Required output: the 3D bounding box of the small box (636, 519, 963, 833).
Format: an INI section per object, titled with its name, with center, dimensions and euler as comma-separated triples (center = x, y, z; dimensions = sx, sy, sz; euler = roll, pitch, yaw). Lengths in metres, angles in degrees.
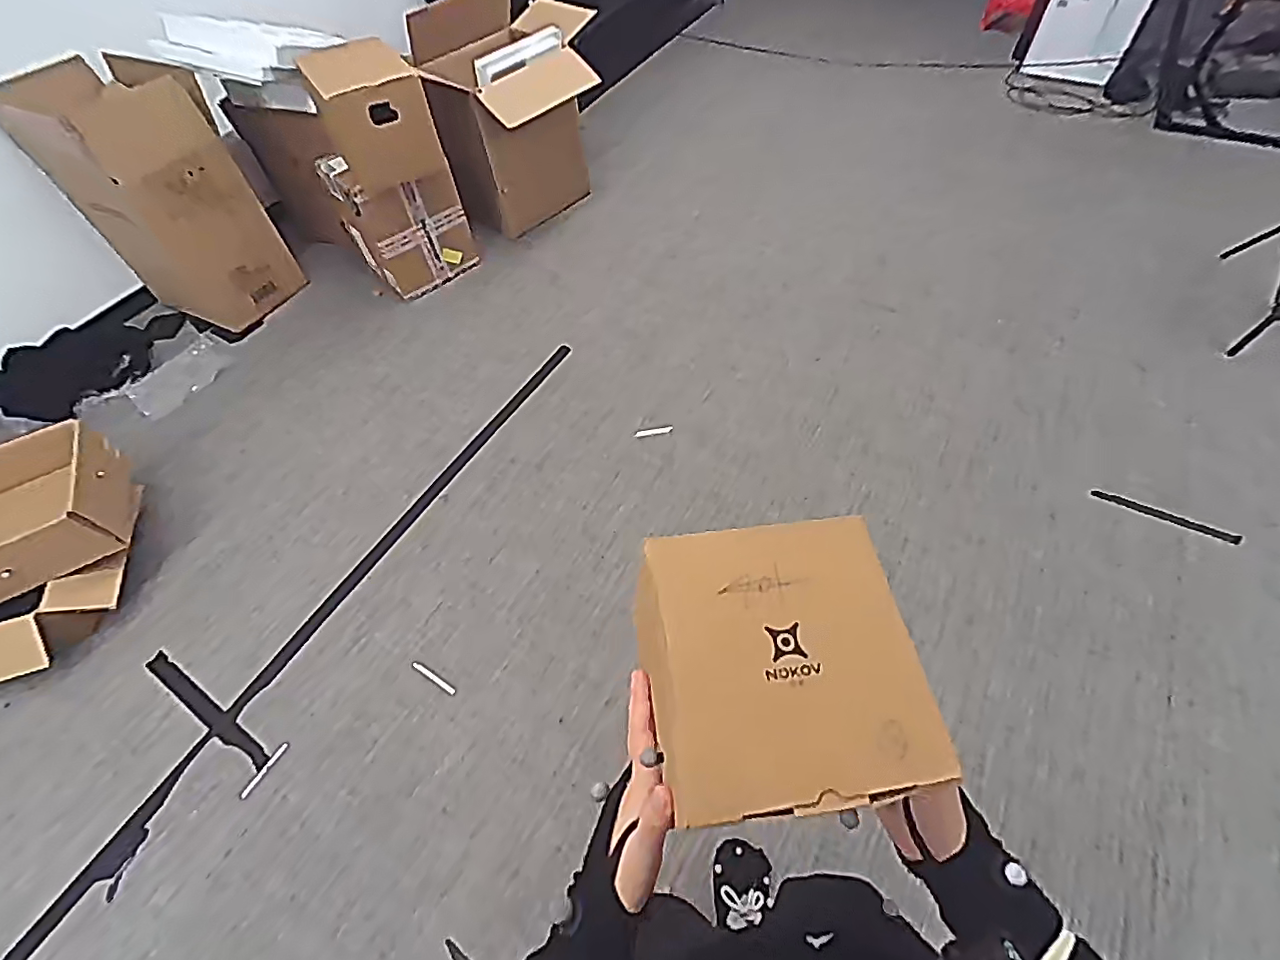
[small box]
center = 0.090, 0.151, 0.410
dimensions = 0.168, 0.176, 0.179
euler = -6, 57, -7
